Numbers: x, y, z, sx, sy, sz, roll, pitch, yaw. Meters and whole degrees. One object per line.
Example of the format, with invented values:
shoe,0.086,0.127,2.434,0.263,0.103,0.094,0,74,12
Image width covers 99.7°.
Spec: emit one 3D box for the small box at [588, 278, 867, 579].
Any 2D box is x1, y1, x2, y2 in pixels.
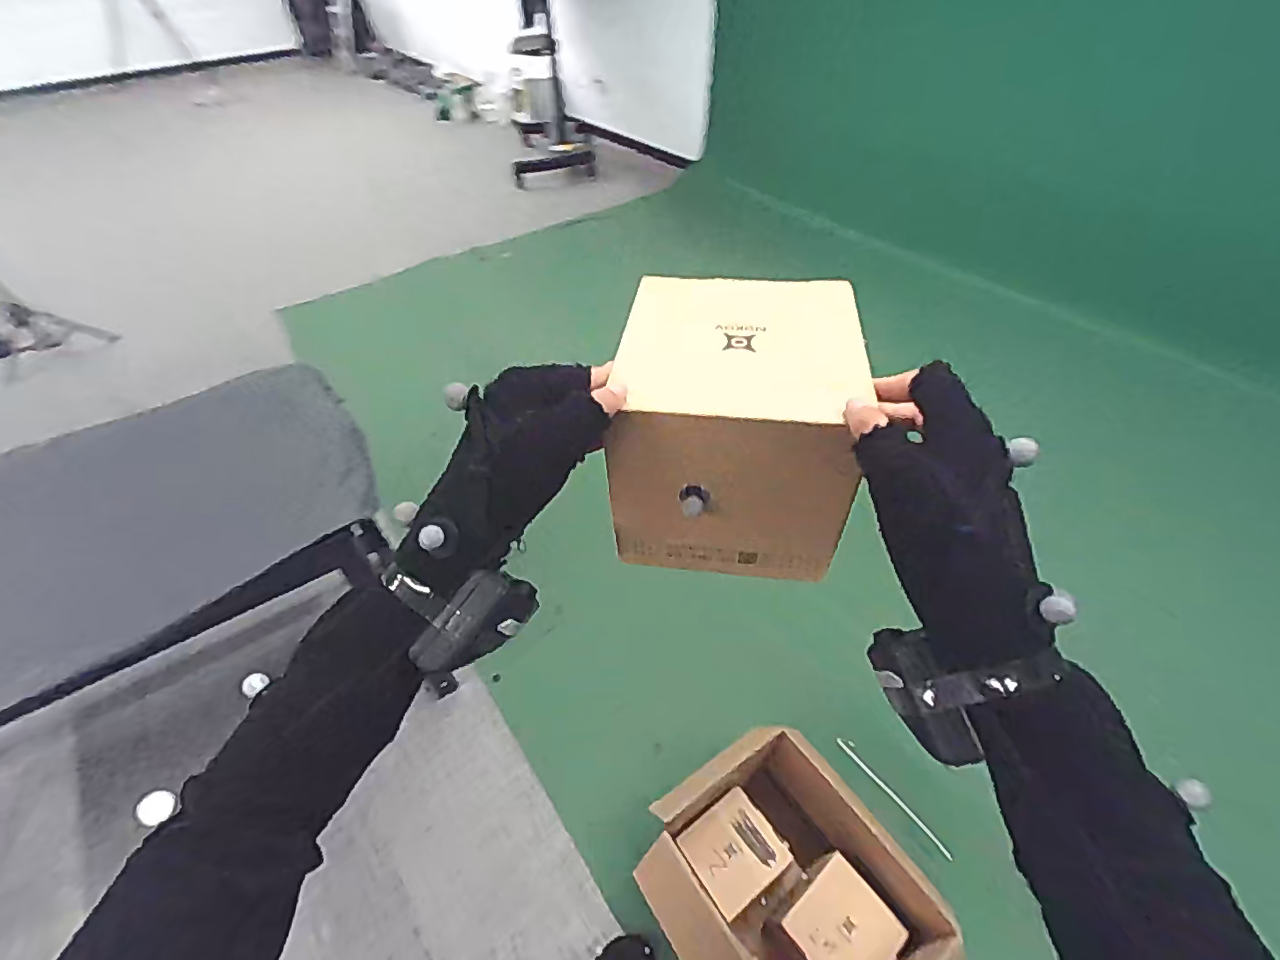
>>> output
small box,0.065,-0.041,0.427,0.168,0.176,0.179,4,46,8
